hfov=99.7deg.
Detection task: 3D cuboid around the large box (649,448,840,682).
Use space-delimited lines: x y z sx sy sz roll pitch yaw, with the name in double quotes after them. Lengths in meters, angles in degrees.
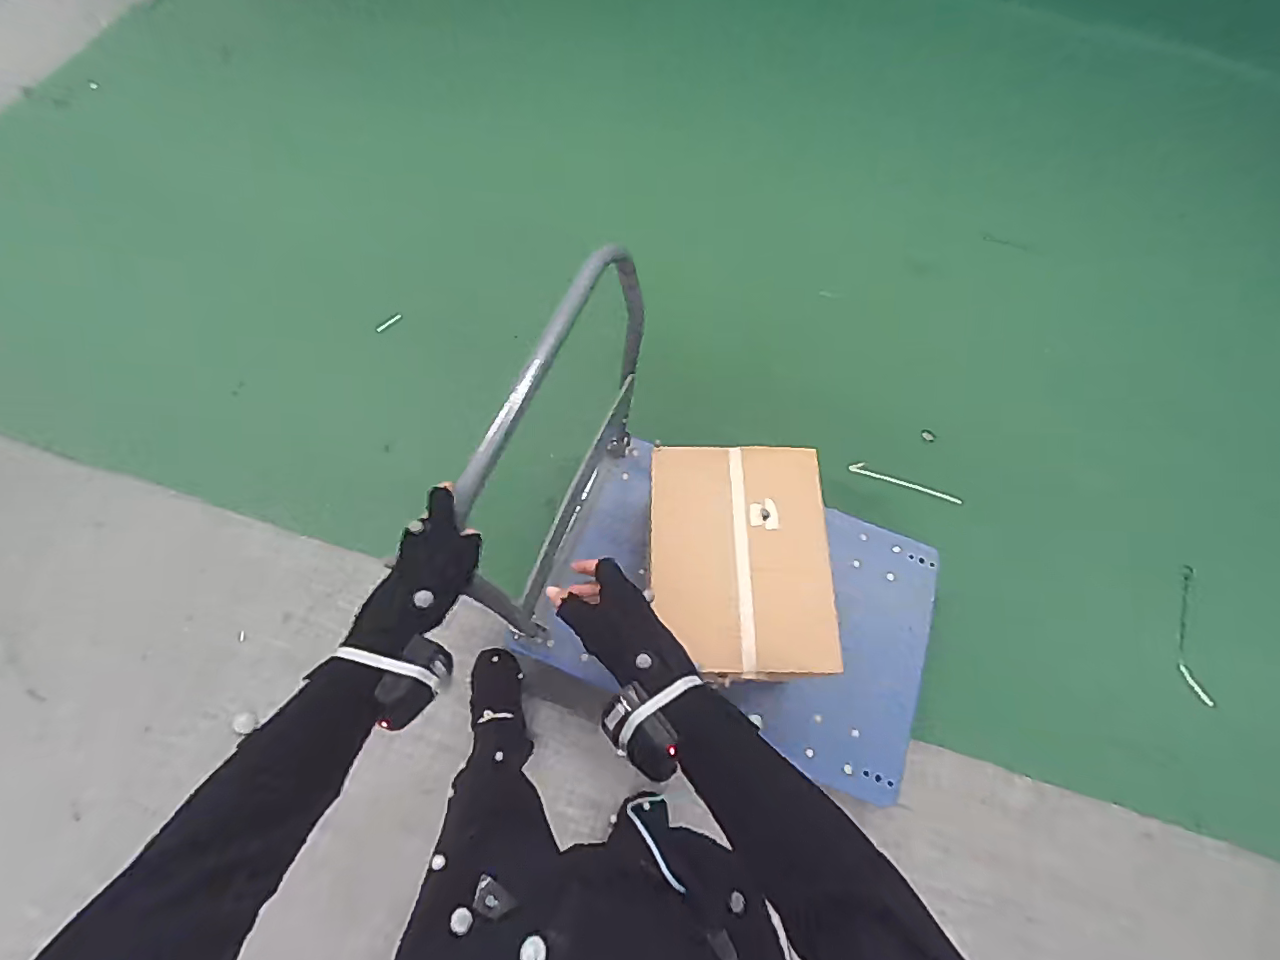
0.174 0.184 1.085 0.320 0.320 0.408 2 67 -1 "large box"
